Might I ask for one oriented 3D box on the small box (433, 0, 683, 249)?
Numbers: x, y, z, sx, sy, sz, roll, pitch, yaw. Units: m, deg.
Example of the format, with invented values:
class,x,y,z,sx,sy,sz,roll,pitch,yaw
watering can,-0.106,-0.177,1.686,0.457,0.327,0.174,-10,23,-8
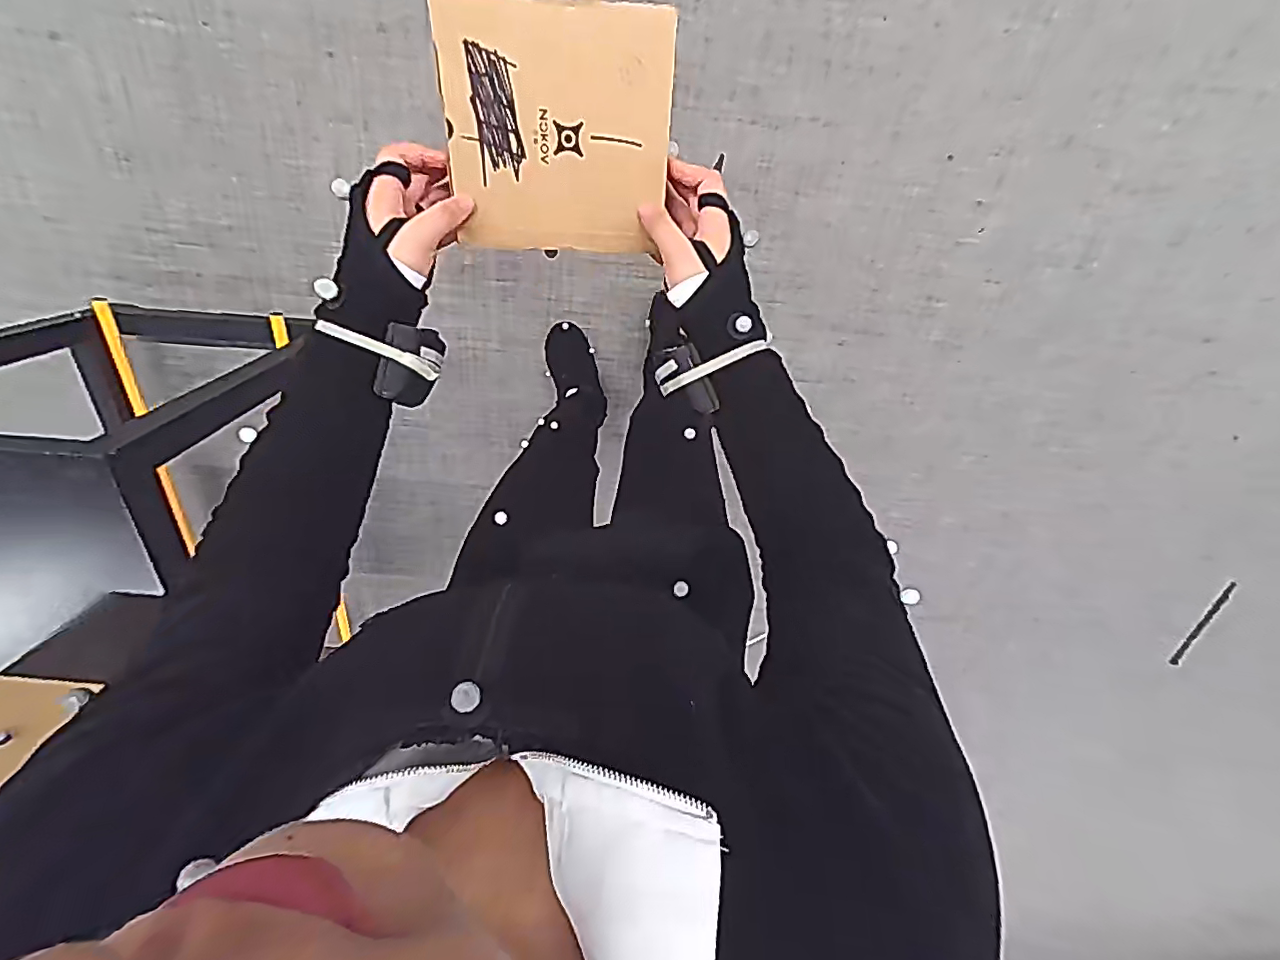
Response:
class,x,y,z,sx,sy,sz,roll,pitch,yaw
small box,-0.064,-0.311,0.482,0.179,0.176,0.168,1,122,-4
